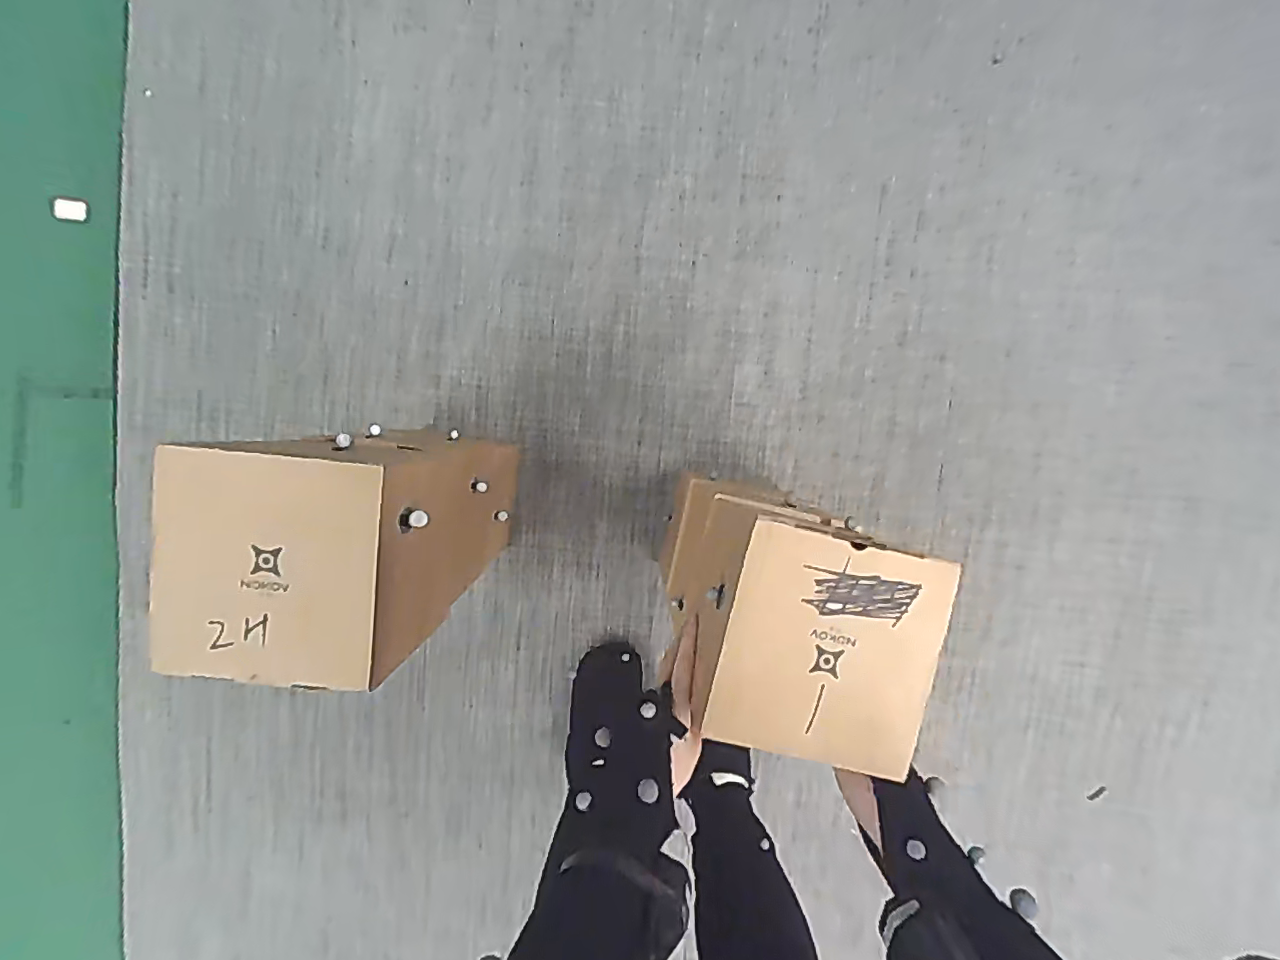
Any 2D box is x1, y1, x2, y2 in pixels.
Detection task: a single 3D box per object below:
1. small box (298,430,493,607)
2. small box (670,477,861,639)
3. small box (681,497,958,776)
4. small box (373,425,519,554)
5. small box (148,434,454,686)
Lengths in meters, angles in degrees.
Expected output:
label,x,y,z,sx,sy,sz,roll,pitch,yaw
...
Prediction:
label,x,y,z,sx,sy,sz,roll,pitch,yaw
small box,-0.279,0.035,0.640,0.168,0.176,0.179,5,96,0
small box,0.135,0.099,0.653,0.168,0.176,0.179,12,95,-2
small box,0.138,0.120,0.486,0.168,0.176,0.179,14,93,-2
small box,-0.284,0.017,0.801,0.168,0.176,0.179,8,96,-2
small box,-0.274,0.054,0.476,0.168,0.176,0.179,6,95,0
